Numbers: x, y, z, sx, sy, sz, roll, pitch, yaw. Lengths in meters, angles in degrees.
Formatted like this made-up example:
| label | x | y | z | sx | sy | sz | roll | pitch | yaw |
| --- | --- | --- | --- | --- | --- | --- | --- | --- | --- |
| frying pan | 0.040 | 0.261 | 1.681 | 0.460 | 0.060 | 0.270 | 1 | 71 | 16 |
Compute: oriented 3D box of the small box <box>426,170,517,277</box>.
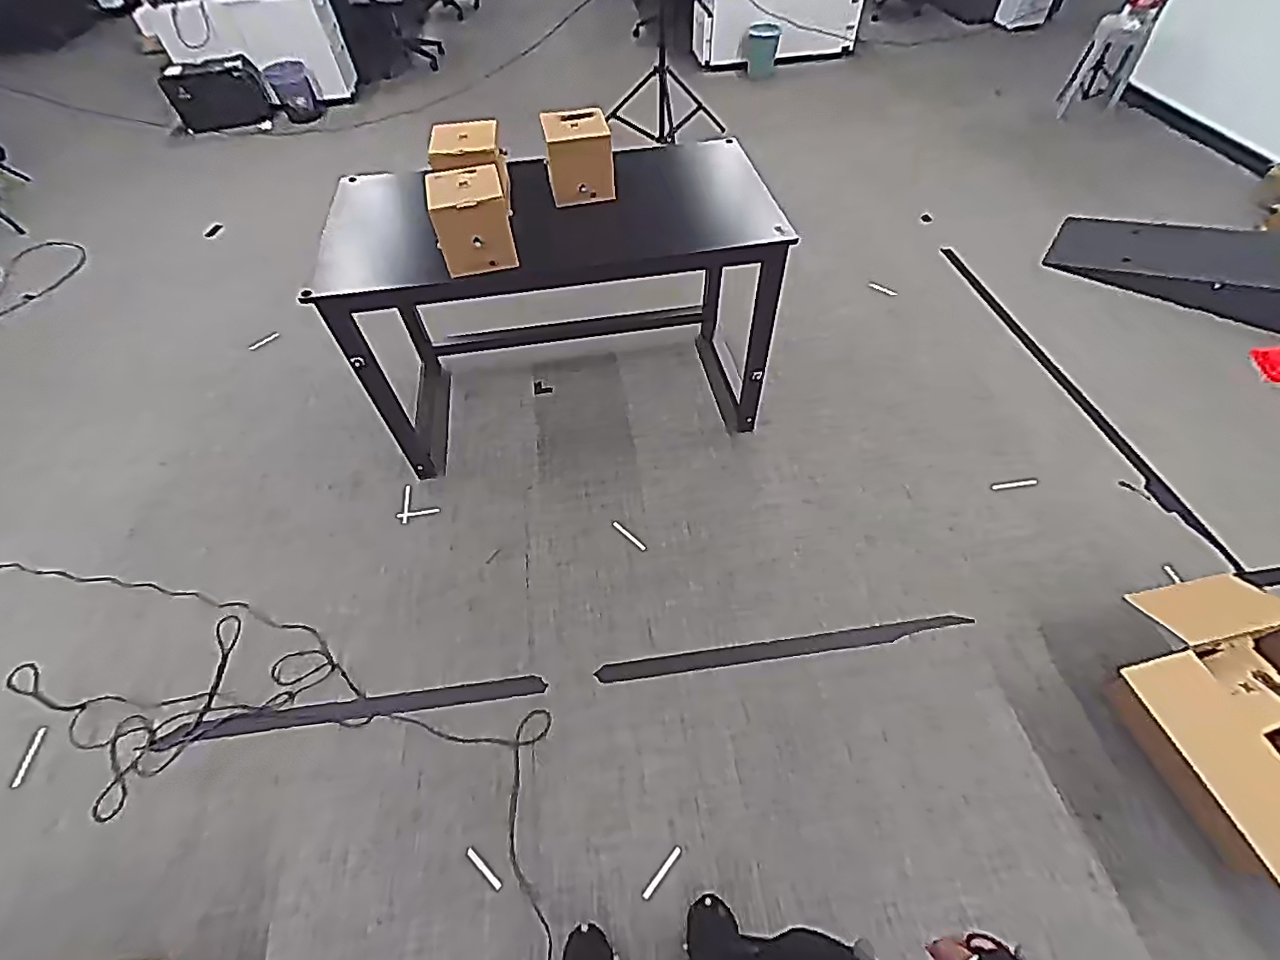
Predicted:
| label | x | y | z | sx | sy | sz | roll | pitch | yaw |
| --- | --- | --- | --- | --- | --- | --- | --- | --- | --- |
| small box | -0.399 | -0.605 | 1.294 | 0.168 | 0.176 | 0.179 | -13 | 54 | -7 |

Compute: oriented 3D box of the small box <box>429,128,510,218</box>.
| label | x | y | z | sx | sy | sz | roll | pitch | yaw |
| --- | --- | --- | --- | --- | --- | --- | --- | --- | --- |
| small box | -0.451 | -0.816 | 1.456 | 0.168 | 0.176 | 0.179 | -8 | 54 | -3 |
